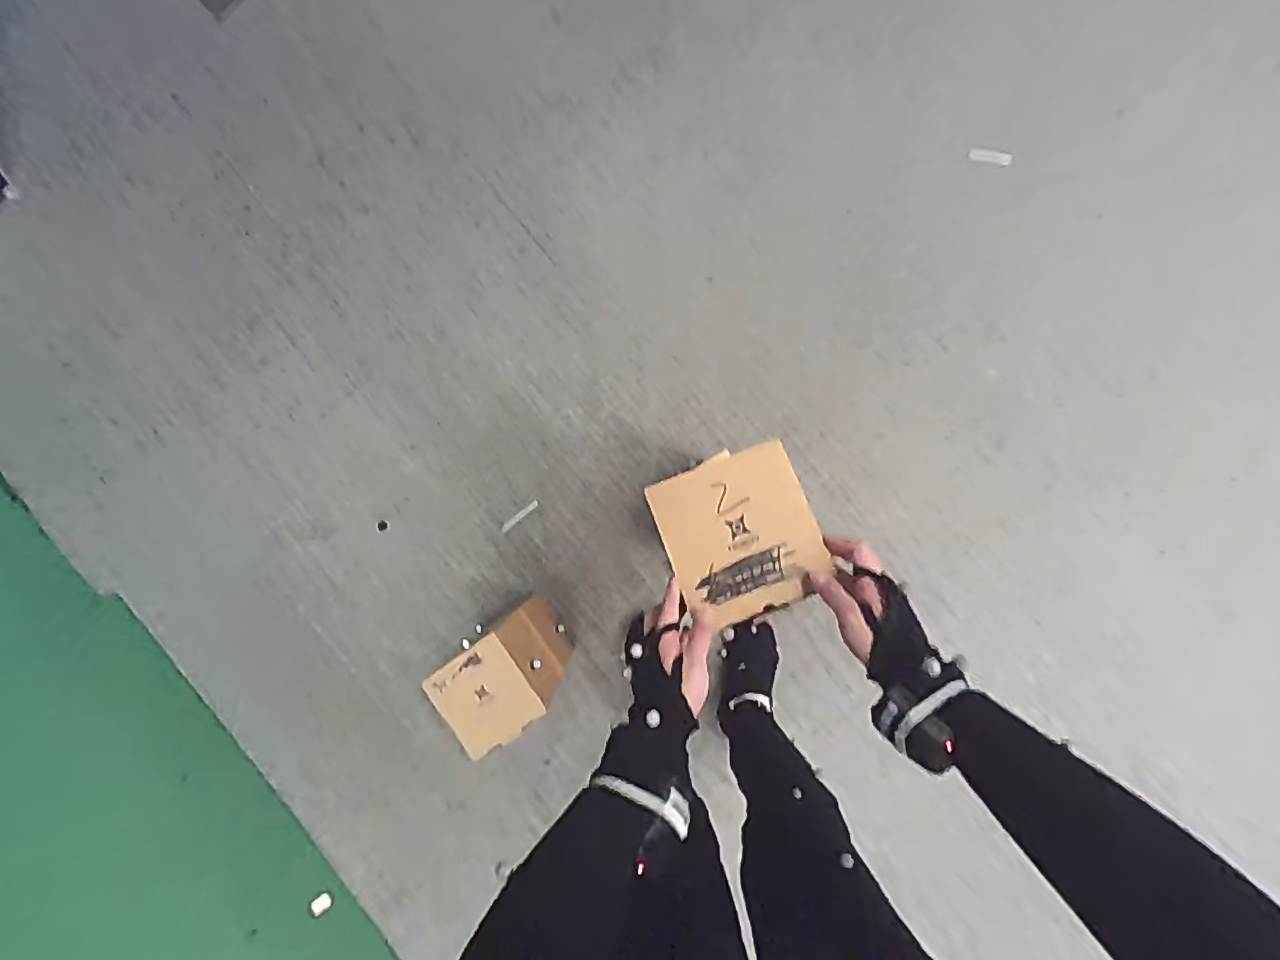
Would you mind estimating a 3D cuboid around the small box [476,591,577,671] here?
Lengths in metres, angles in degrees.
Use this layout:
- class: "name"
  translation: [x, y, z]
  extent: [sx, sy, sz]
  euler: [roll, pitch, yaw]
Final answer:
- class: "small box"
  translation: [-0.263, 0.374, 1.216]
  extent: [0.179, 0.176, 0.168]
  euler: [-34, 89, 1]

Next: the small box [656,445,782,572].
- class: "small box"
  translation: [0.141, 0.053, 1.044]
  extent: [0.168, 0.176, 0.179]
  euler: [-33, 90, 0]

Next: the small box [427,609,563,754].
- class: "small box"
  translation: [-0.269, 0.379, 1.052]
  extent: [0.168, 0.176, 0.179]
  euler: [-34, 90, 2]
